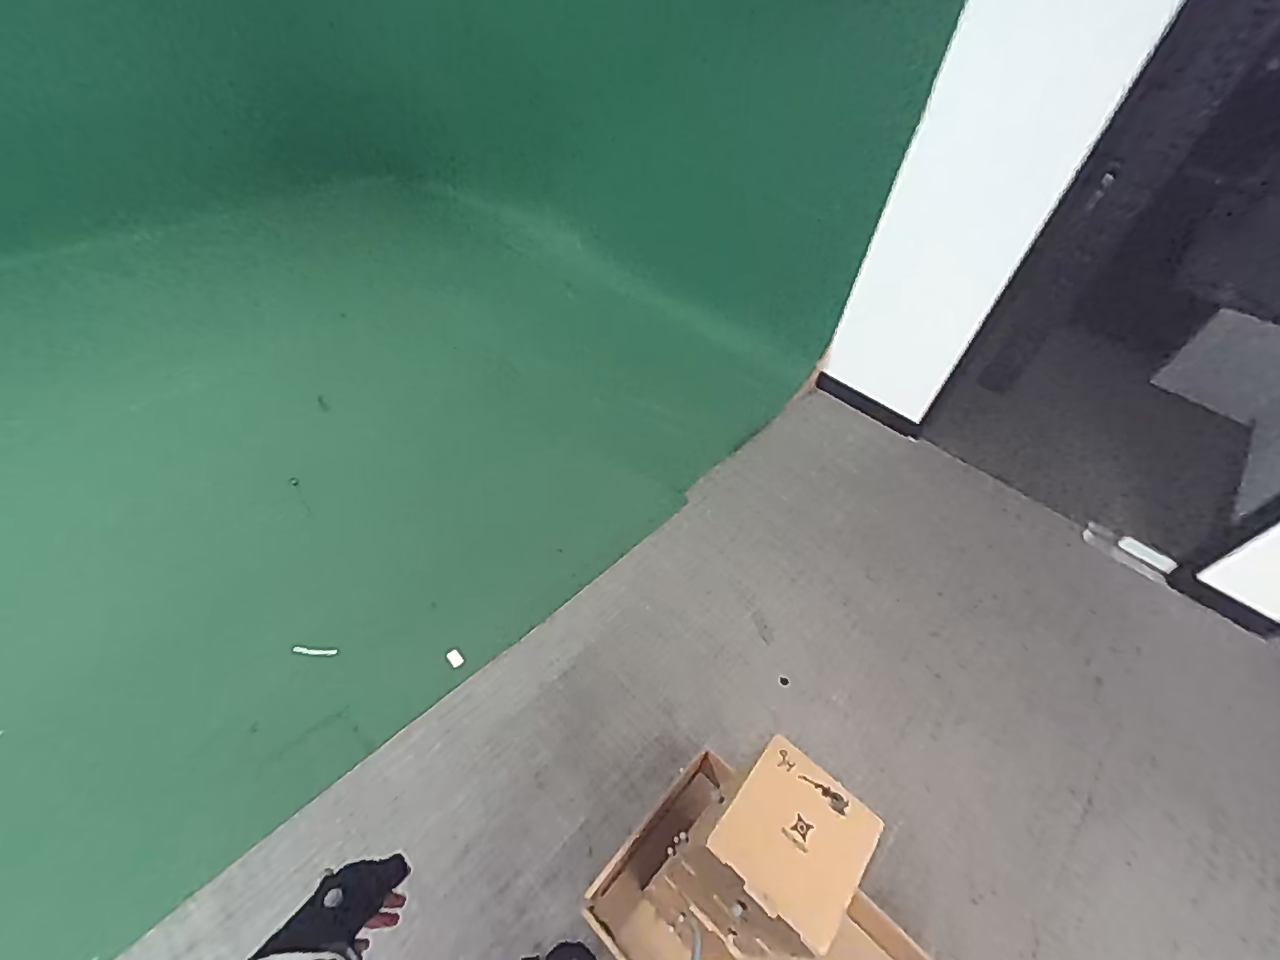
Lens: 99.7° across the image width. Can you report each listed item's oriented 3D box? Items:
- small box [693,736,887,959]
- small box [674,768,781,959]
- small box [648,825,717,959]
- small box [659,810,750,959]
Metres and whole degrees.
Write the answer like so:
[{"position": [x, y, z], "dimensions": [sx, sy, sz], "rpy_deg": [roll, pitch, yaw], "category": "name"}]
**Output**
[{"position": [0.188, 0.489, 0.724], "dimensions": [0.168, 0.176, 0.179], "rpy_deg": [37, 56, 21], "category": "small box"}, {"position": [0.168, 0.597, 0.846], "dimensions": [0.168, 0.176, 0.179], "rpy_deg": [37, 54, 22], "category": "small box"}, {"position": [0.133, 0.815, 1.085], "dimensions": [0.168, 0.176, 0.179], "rpy_deg": [39, 55, 24], "category": "small box"}, {"position": [0.150, 0.708, 0.964], "dimensions": [0.168, 0.176, 0.179], "rpy_deg": [38, 55, 23], "category": "small box"}]
